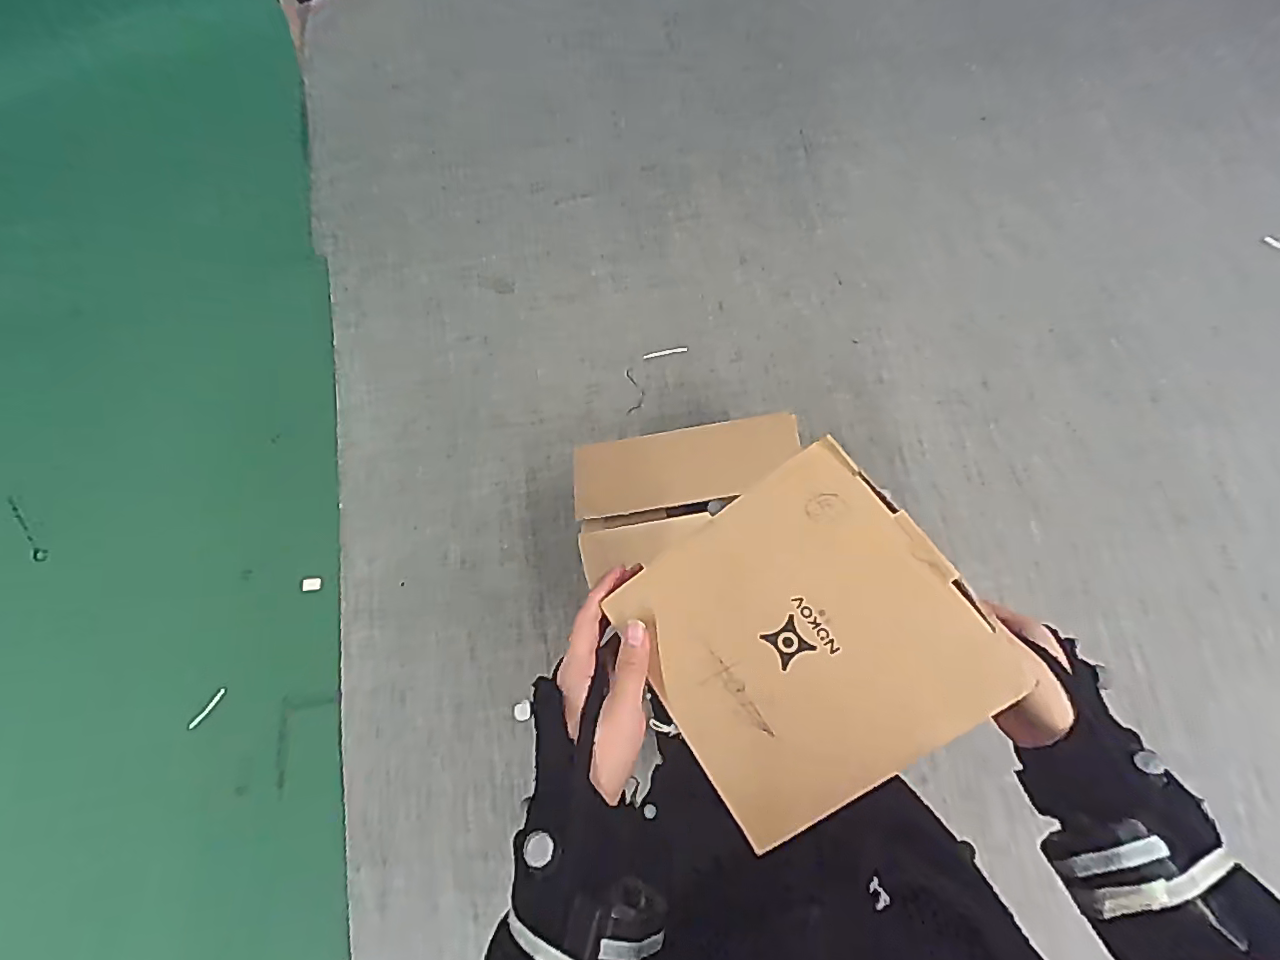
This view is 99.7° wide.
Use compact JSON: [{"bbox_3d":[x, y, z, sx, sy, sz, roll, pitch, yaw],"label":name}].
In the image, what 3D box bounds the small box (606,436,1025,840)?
[{"bbox_3d":[0.111,0.098,0.385,0.179,0.176,0.168,-39,71,10],"label":"small box"}]
